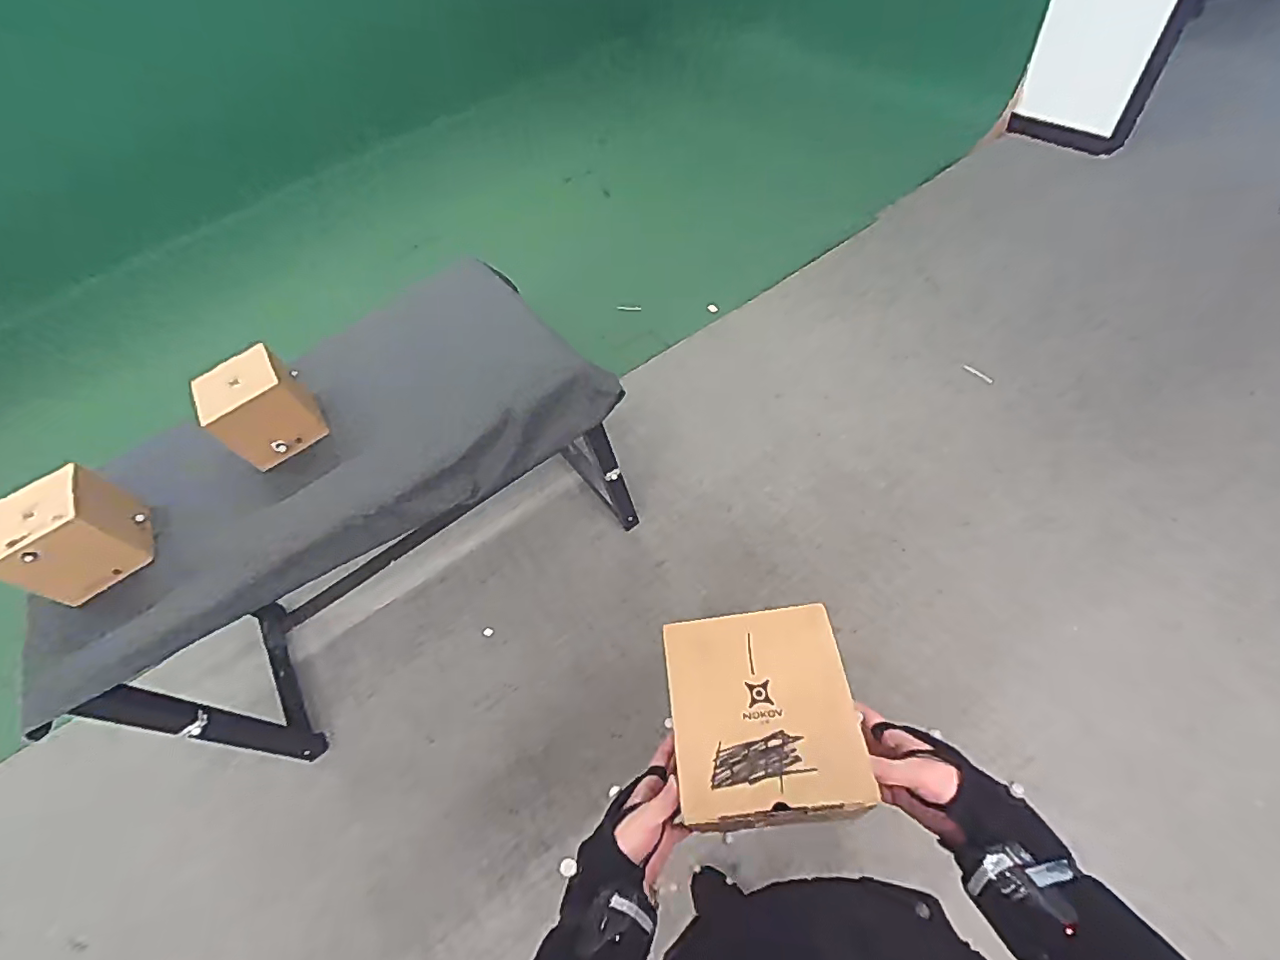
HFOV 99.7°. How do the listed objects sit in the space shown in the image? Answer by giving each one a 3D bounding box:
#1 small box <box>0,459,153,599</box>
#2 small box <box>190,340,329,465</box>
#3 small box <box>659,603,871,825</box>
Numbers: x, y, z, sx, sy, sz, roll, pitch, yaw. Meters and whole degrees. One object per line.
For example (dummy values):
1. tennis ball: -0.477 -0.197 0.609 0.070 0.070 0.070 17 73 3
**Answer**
1. small box: -1.109 0.100 1.057 0.168 0.176 0.179 -36 56 -12
2. small box: -0.823 -0.165 1.179 0.168 0.176 0.179 -36 58 -12
3. small box: 0.118 0.249 0.560 0.168 0.176 0.179 -9 54 5
